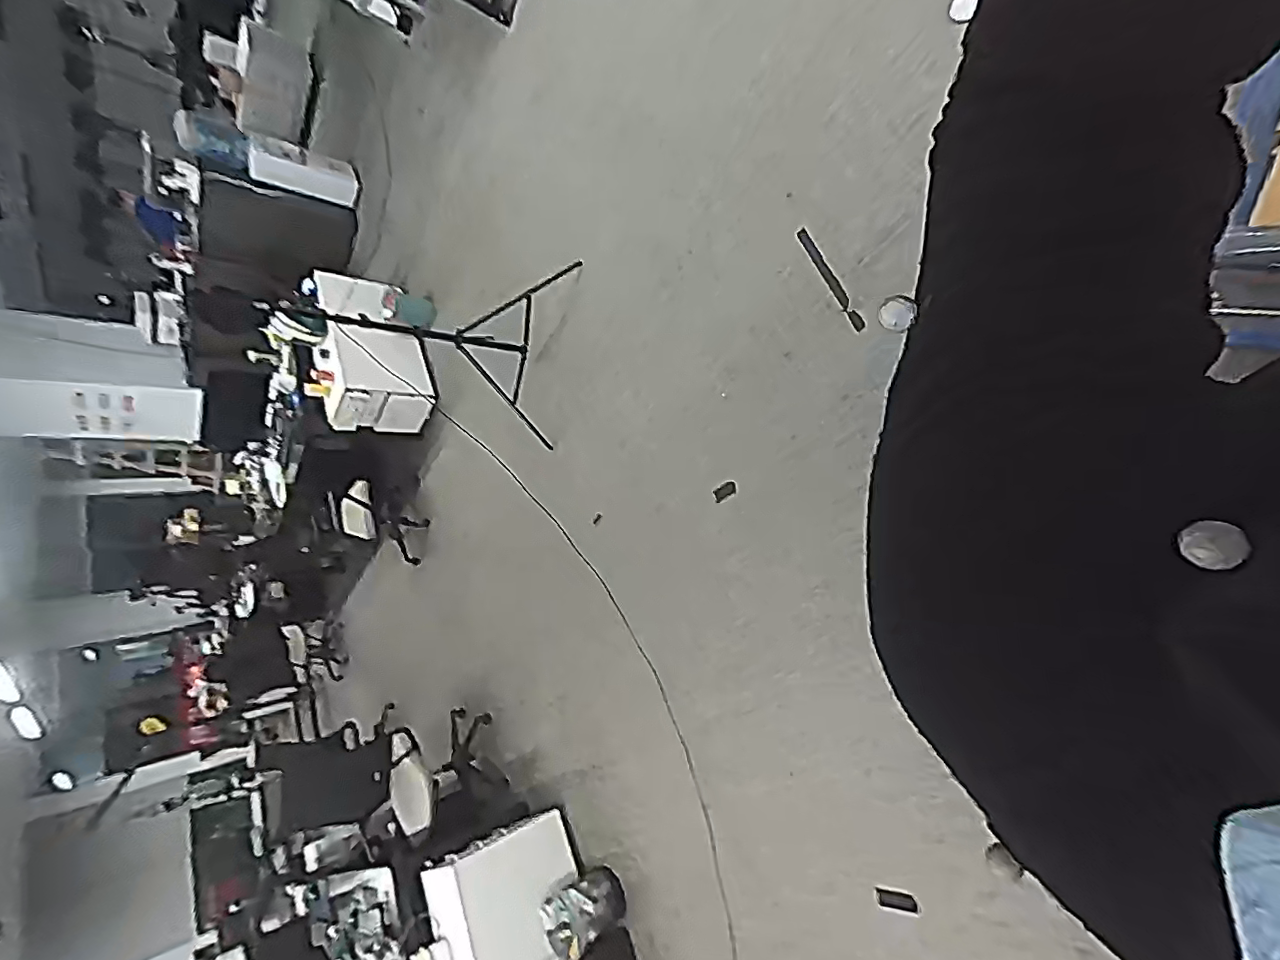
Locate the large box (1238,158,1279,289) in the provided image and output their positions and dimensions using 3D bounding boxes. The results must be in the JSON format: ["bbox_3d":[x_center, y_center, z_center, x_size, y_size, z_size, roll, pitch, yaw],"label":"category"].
[{"bbox_3d":[1.059,-0.409,0.641,0.408,0.320,0.320,24,110,43],"label":"large box"}]
